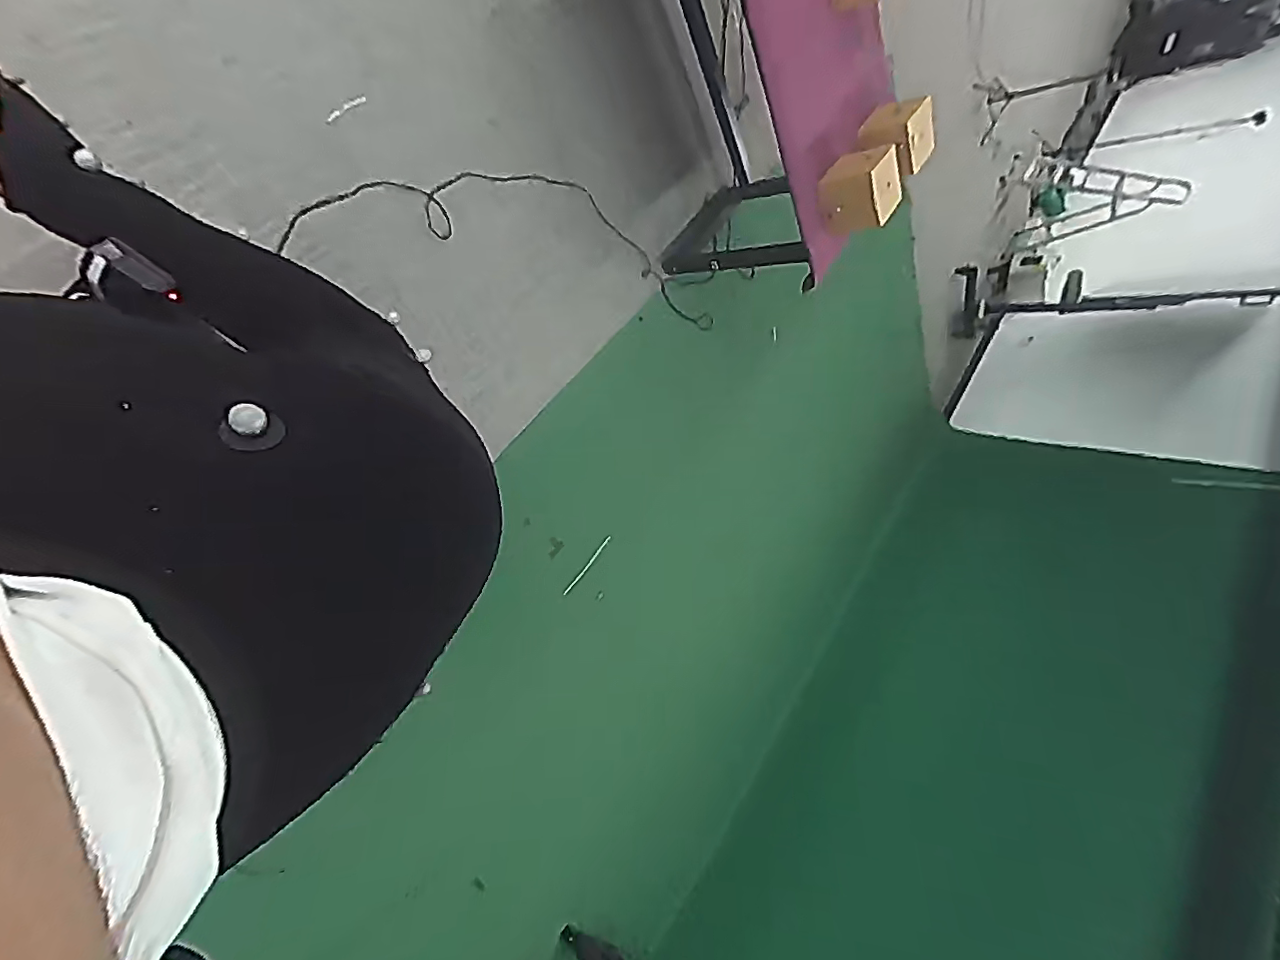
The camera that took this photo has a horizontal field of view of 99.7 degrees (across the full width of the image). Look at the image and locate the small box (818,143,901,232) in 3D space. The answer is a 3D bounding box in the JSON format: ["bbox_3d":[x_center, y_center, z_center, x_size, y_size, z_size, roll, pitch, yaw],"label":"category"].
[{"bbox_3d":[0.669,-0.886,1.647,0.179,0.176,0.168,-51,131,-23],"label":"small box"}]

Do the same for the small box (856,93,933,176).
[{"bbox_3d":[0.819,-1.098,1.742,0.179,0.176,0.168,-53,132,-21],"label":"small box"}]
